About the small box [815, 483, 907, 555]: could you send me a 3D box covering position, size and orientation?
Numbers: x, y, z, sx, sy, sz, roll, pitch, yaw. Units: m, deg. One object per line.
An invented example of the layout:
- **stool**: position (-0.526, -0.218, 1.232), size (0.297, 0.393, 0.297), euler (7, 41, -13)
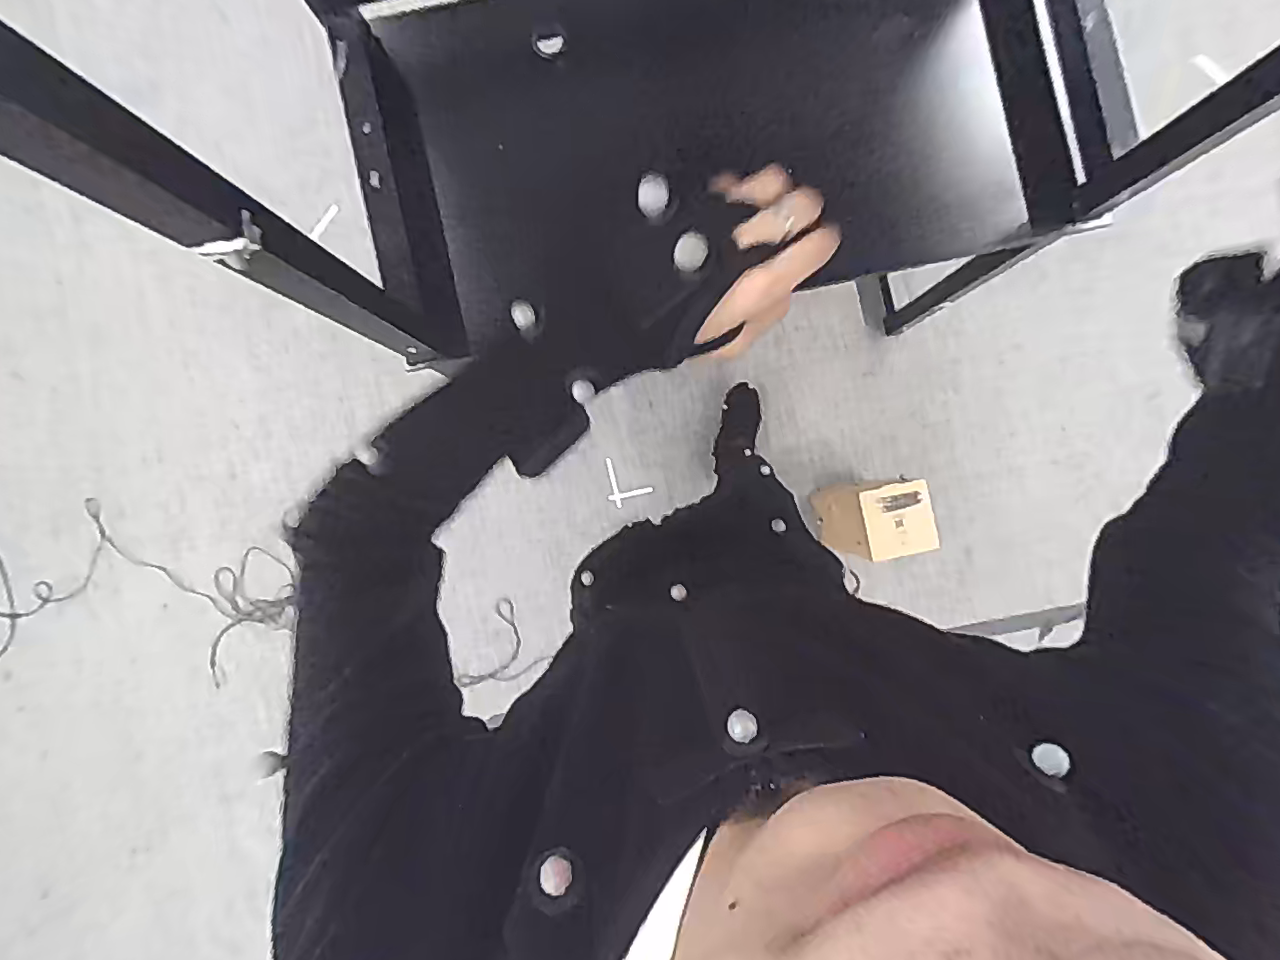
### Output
- **small box**: position (0.620, 0.104, 1.534), size (0.179, 0.176, 0.168), euler (-14, 89, 2)
